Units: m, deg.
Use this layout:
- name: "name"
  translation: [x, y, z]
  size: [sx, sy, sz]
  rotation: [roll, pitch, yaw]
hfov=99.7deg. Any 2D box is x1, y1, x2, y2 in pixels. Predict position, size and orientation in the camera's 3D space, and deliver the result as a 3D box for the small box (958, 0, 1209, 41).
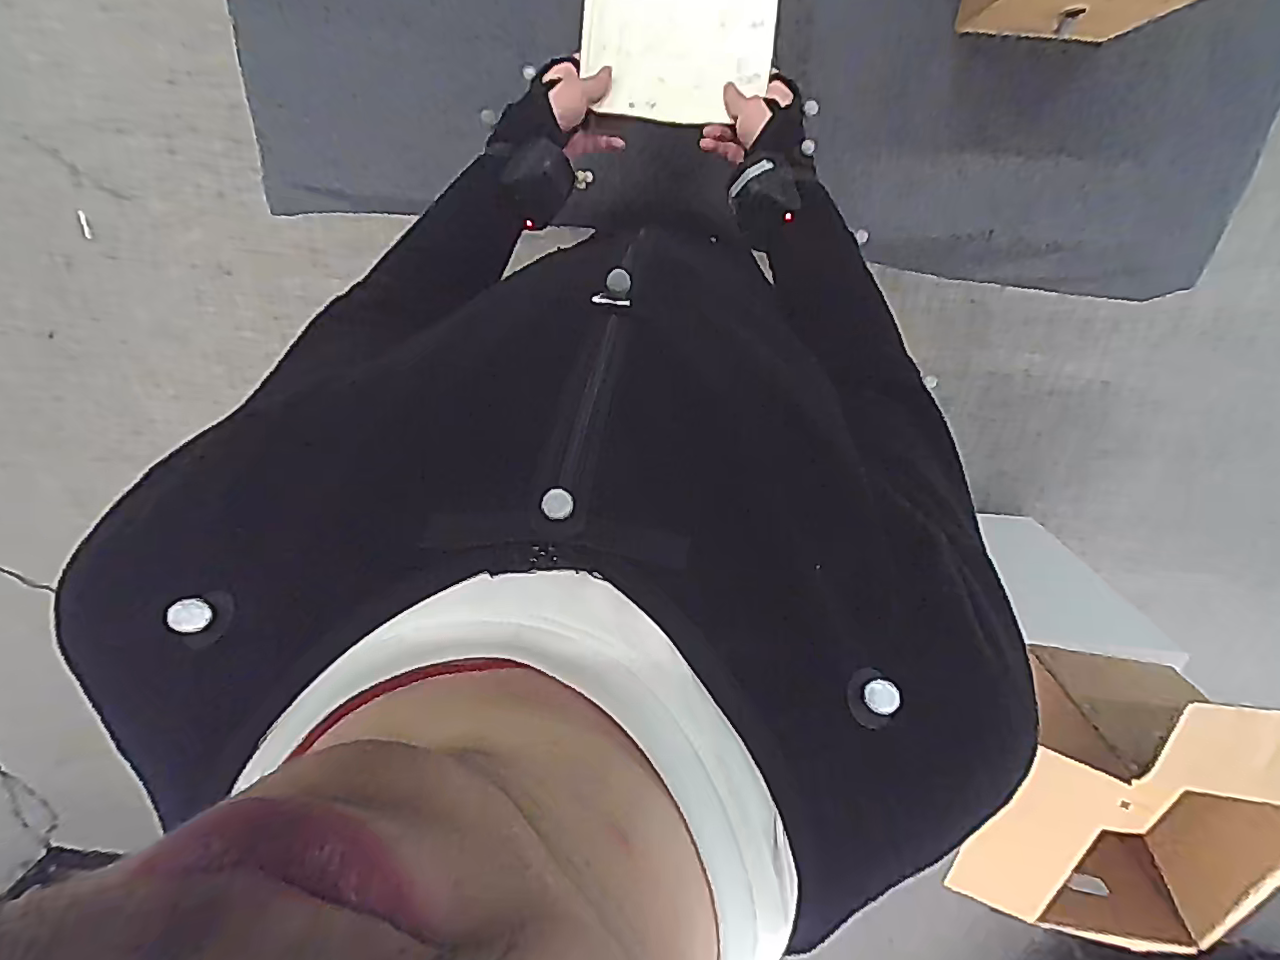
- name: "small box"
  translation: [0.424, -0.528, 0.490]
  size: [0.168, 0.176, 0.179]
  rotation: [5, 117, 2]
